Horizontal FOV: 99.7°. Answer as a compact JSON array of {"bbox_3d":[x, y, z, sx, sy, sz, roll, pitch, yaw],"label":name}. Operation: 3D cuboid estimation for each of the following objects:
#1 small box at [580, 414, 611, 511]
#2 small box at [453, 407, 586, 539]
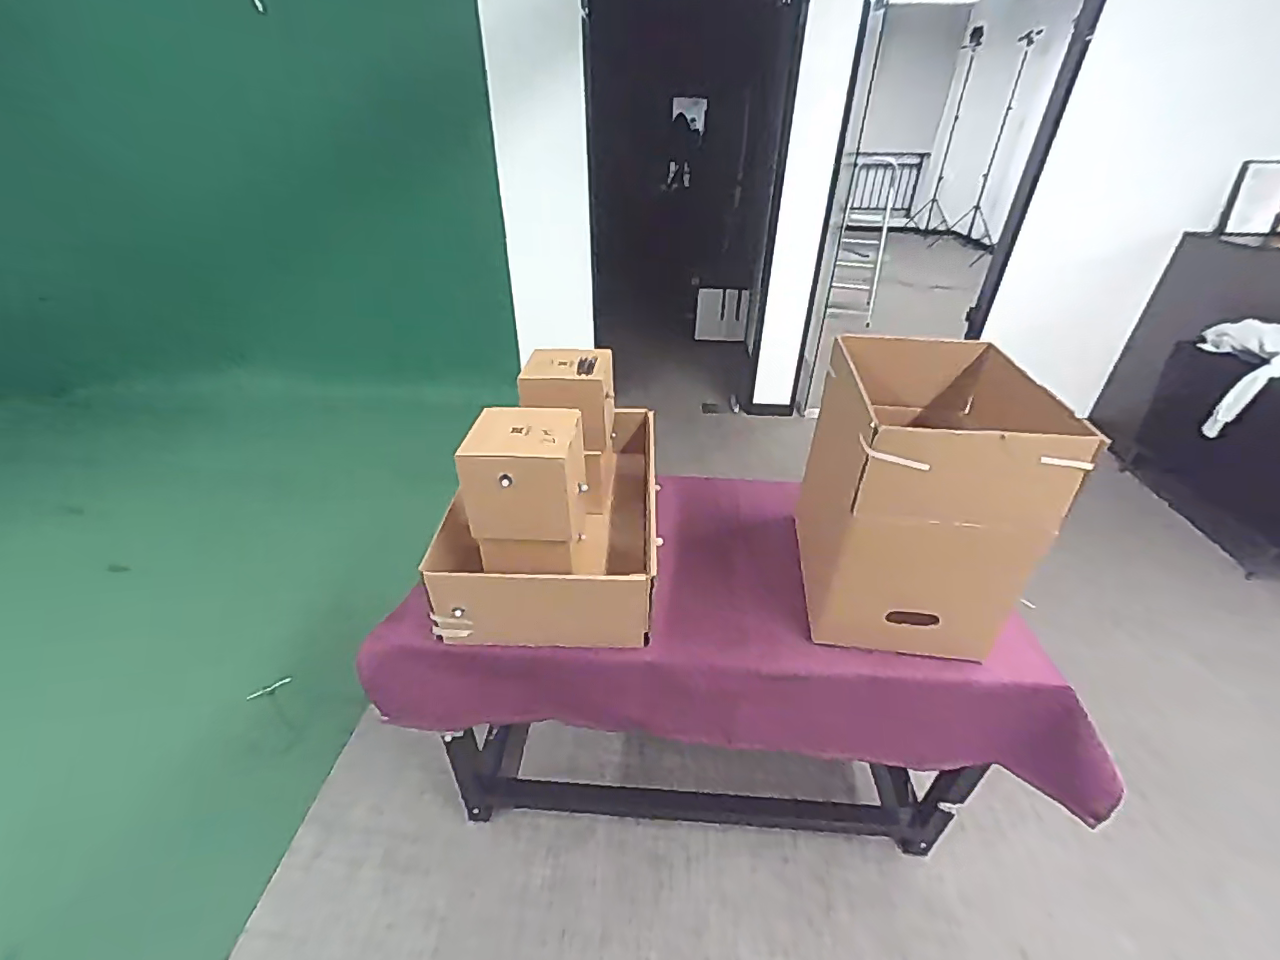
[{"bbox_3d":[-0.159,-0.042,1.273,0.168,0.176,0.179,2,35,4],"label":"small box"},{"bbox_3d":[-0.196,-0.013,0.936,0.179,0.176,0.168,2,35,3],"label":"small box"}]
